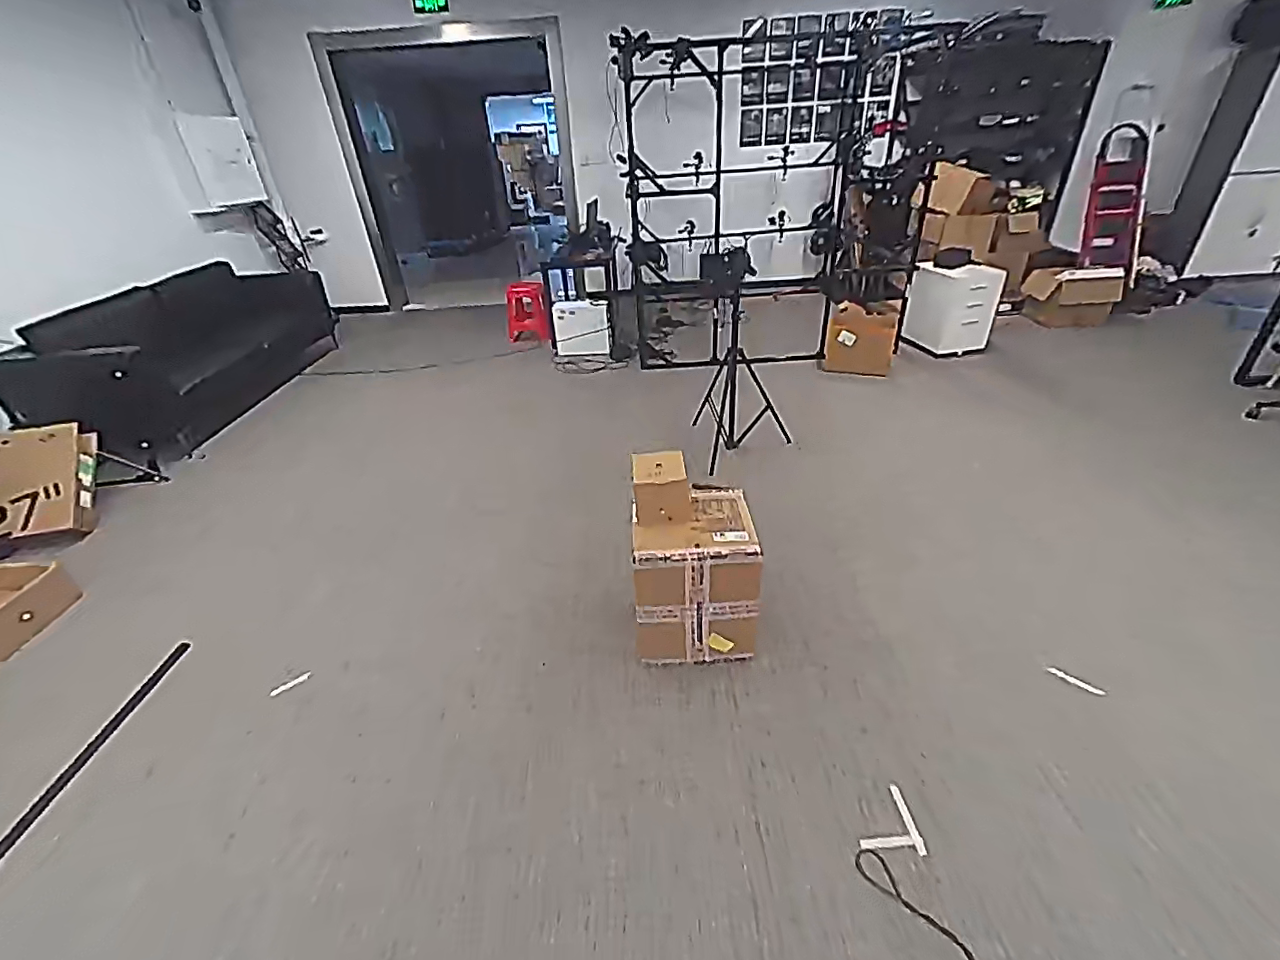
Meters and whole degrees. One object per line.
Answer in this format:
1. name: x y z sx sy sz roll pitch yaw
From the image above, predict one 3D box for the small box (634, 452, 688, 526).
1. small box: 0.066 0.028 1.761 0.168 0.176 0.179 -5 35 2
